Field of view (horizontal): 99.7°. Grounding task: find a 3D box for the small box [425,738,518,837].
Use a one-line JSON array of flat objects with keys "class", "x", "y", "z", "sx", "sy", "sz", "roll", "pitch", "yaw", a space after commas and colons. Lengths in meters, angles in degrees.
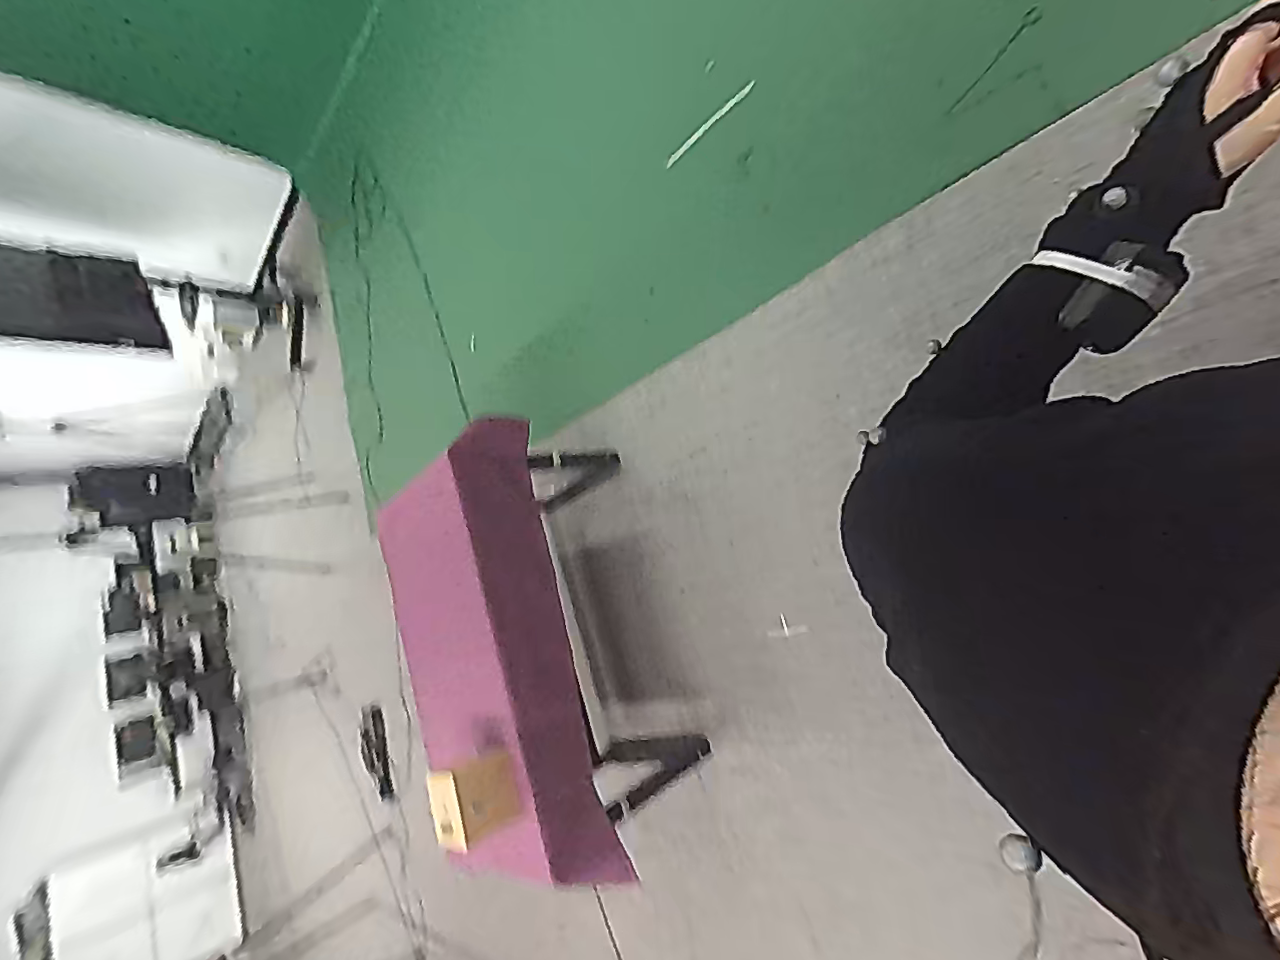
[{"class": "small box", "x": -0.452, "y": 0.823, "z": 1.463, "sx": 0.168, "sy": 0.176, "sz": 0.179, "roll": -26, "pitch": 75, "yaw": 41}]
